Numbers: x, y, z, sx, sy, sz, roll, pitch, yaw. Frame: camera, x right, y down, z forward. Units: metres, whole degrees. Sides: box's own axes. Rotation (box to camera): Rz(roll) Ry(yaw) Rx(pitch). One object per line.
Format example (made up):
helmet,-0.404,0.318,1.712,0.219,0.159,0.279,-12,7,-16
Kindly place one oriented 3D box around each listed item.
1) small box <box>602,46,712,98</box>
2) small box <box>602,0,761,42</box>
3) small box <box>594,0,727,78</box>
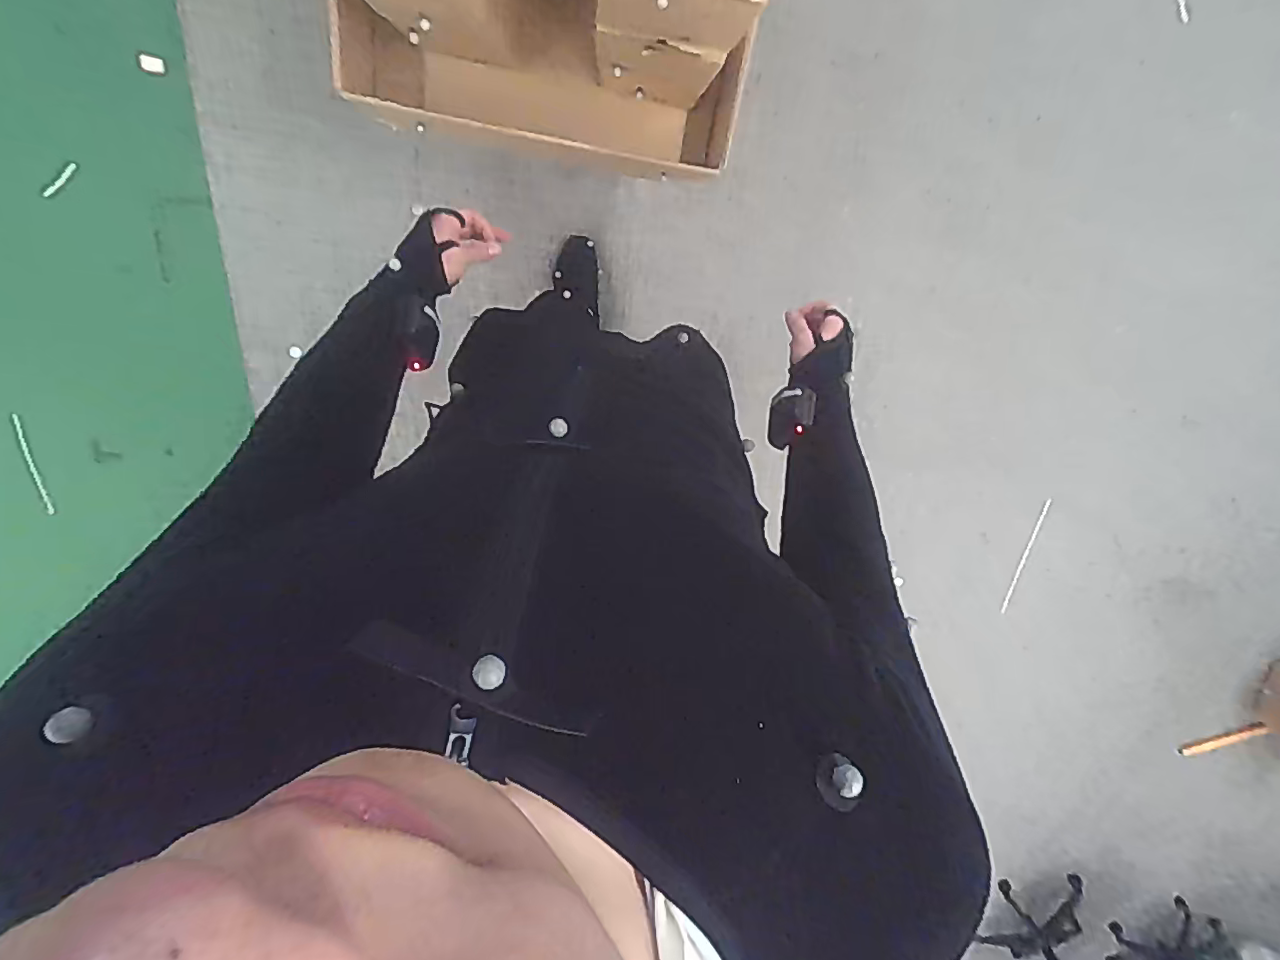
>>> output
small box,0.033,-0.722,0.833,0.168,0.176,0.179,7,115,-7
small box,0.048,-0.580,0.537,0.168,0.176,0.179,6,115,-6
small box,0.038,-0.646,0.687,0.168,0.176,0.179,9,115,-8
